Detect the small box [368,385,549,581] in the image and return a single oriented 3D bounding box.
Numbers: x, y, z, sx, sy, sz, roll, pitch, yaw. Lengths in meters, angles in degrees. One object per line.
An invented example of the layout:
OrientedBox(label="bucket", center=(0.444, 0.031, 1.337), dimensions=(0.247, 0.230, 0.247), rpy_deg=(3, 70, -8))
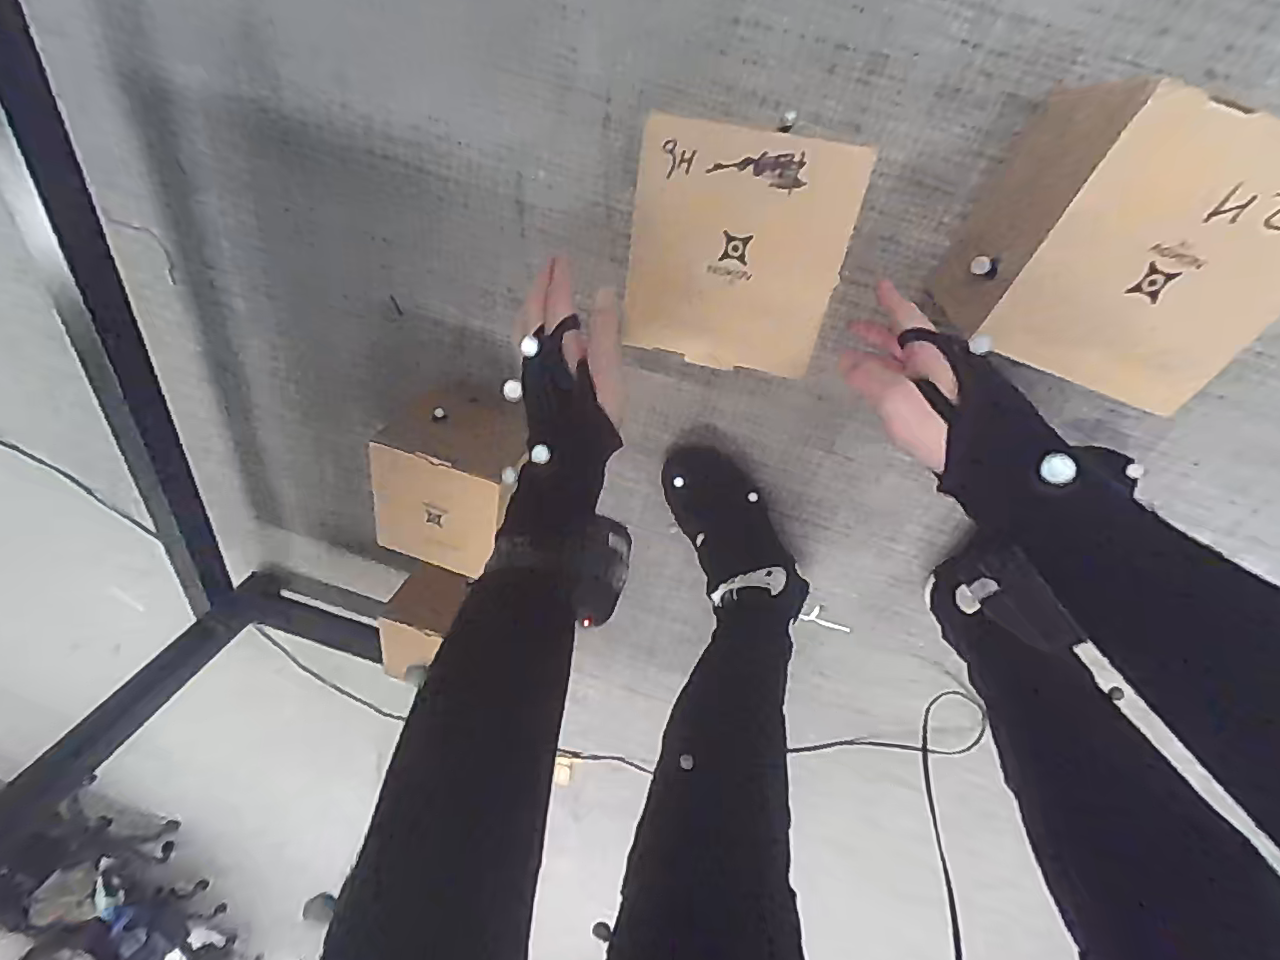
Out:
OrientedBox(label="small box", center=(-0.233, -0.003, 0.725), dimensions=(0.168, 0.176, 0.179), rpy_deg=(19, 127, 4))

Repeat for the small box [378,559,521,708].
OrientedBox(label="small box", center=(-0.314, 0.245, 0.919), dimensions=(0.168, 0.176, 0.179), rpy_deg=(17, 126, 5))
